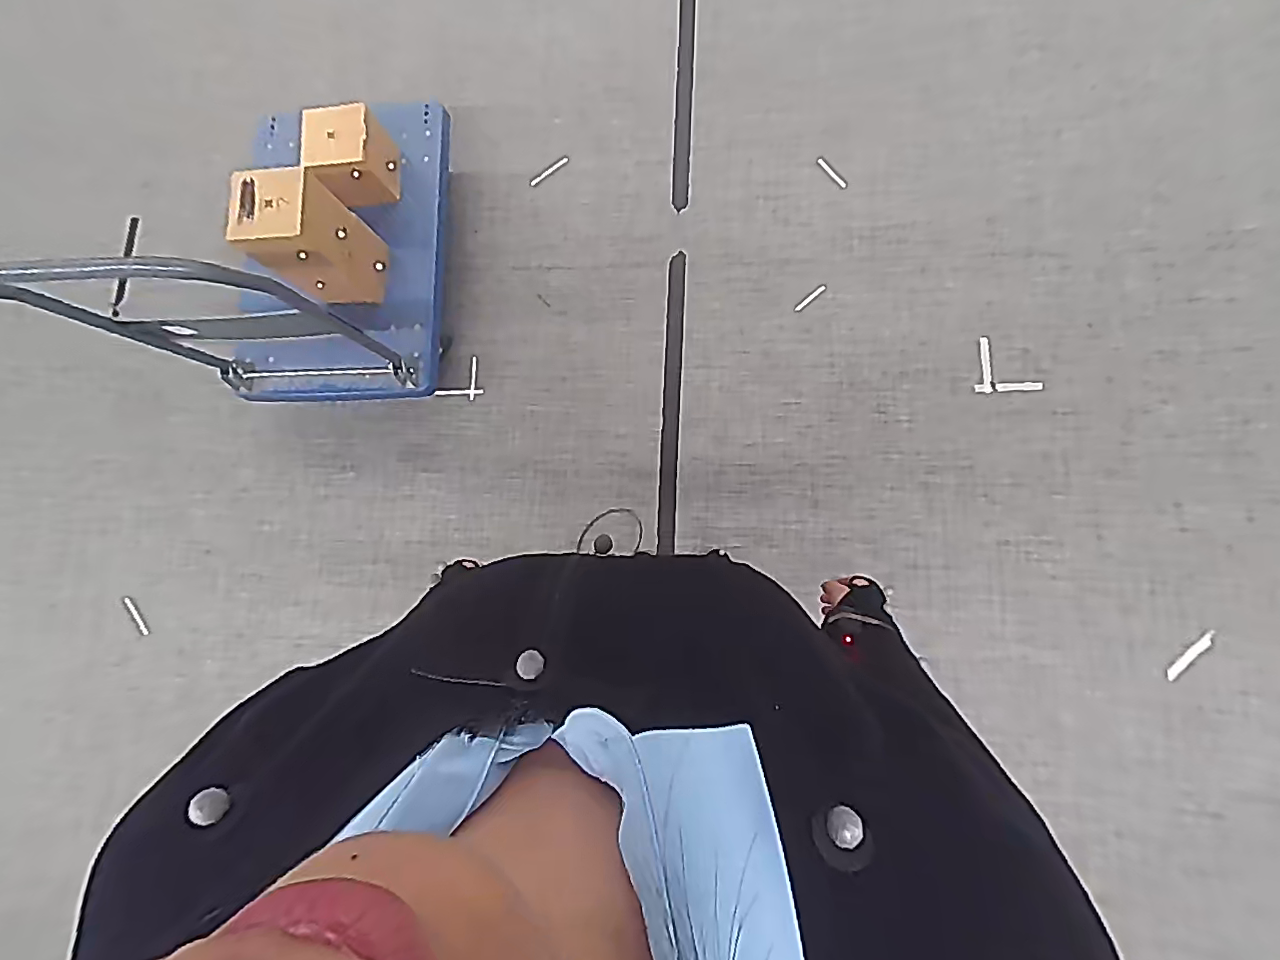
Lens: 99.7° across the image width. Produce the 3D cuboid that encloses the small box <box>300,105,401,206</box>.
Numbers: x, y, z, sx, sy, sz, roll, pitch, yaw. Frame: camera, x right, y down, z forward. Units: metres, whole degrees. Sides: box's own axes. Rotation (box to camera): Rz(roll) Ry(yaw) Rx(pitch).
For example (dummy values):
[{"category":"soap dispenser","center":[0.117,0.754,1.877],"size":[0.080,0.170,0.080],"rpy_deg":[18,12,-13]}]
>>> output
[{"category":"small box","center":[-0.777,-0.867,1.462],"size":[0.179,0.176,0.168],"rpy_deg":[-3,82,5]}]

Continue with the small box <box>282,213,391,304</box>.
[{"category":"small box","center":[-0.792,-0.575,1.422],"size":[0.179,0.176,0.168],"rpy_deg":[3,83,6]}]
